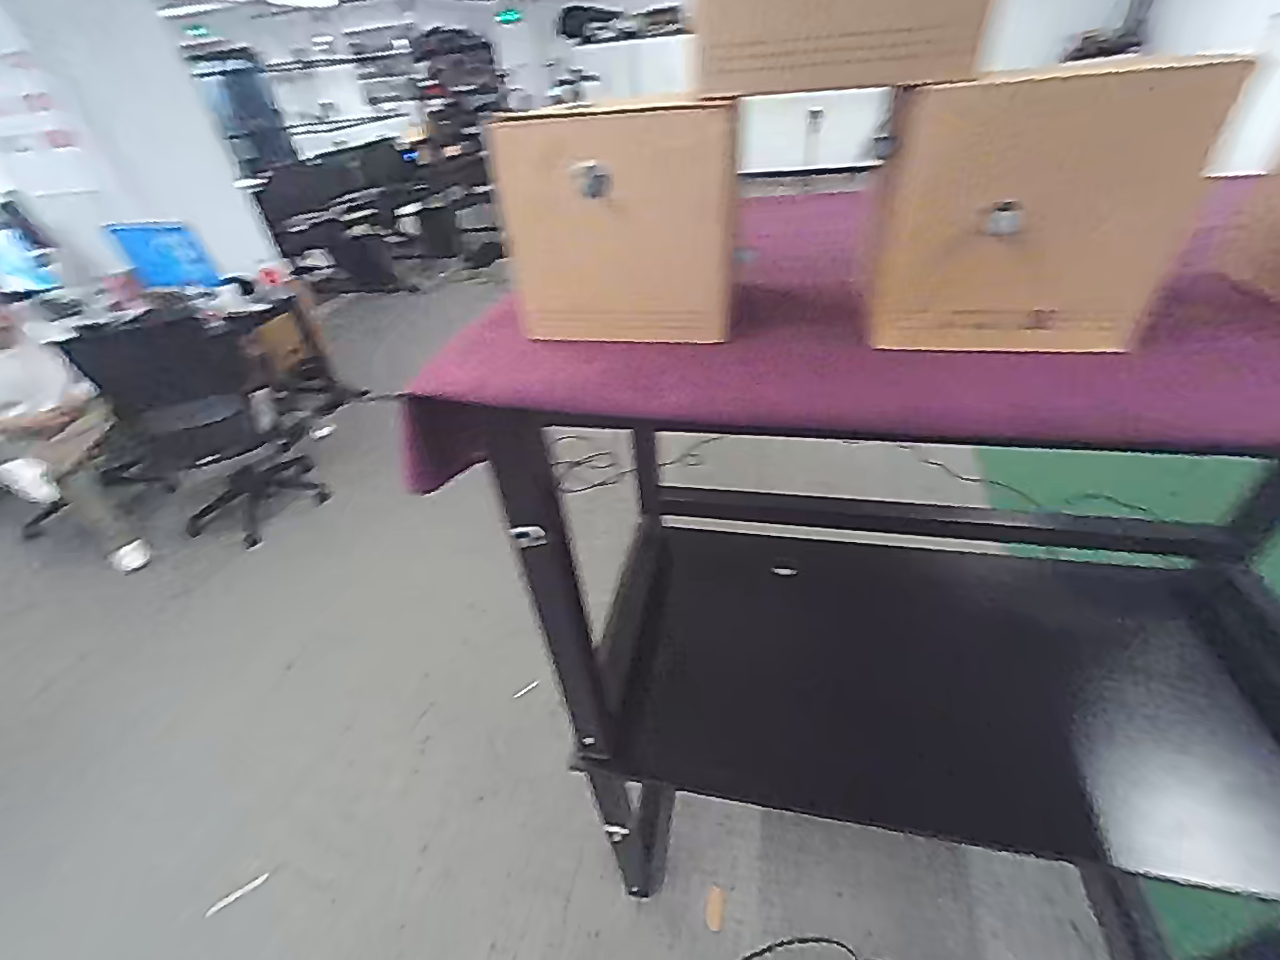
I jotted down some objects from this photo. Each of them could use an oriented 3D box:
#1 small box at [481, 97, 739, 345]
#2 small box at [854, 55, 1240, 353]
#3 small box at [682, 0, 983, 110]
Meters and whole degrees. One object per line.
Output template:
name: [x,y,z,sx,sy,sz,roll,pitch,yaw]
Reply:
small box: [-0.008,-0.229,0.478,0.179,0.176,0.168,4,38,12]
small box: [0.266,-0.205,0.413,0.168,0.176,0.179,3,36,14]
small box: [0.127,-0.352,0.351,0.179,0.176,0.168,6,37,14]
